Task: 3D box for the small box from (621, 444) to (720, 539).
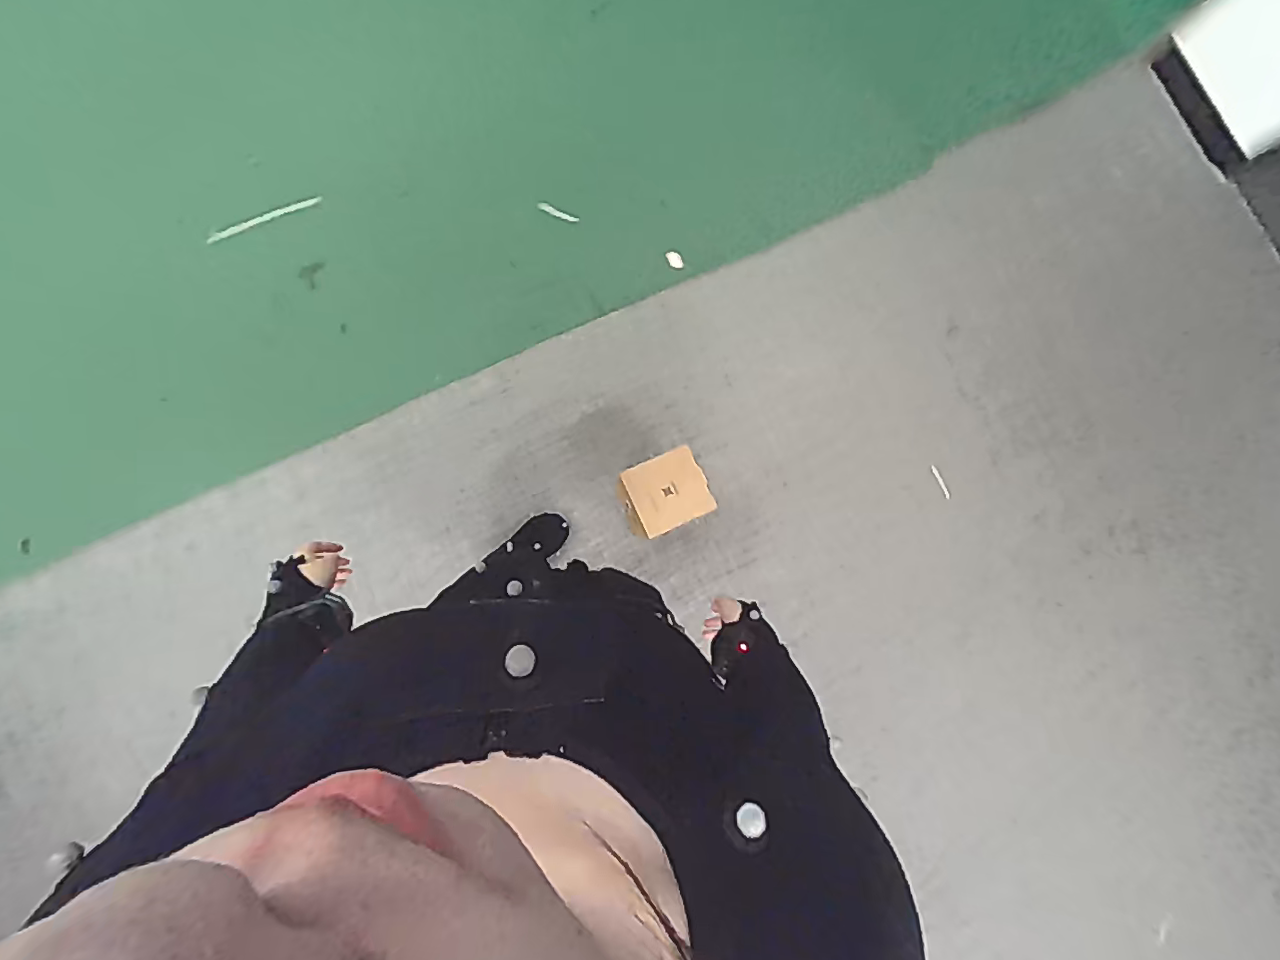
[{"bbox_3d":[0.065,0.031,1.288,0.179,0.176,0.168,-24,85,-6],"label":"small box"}]
